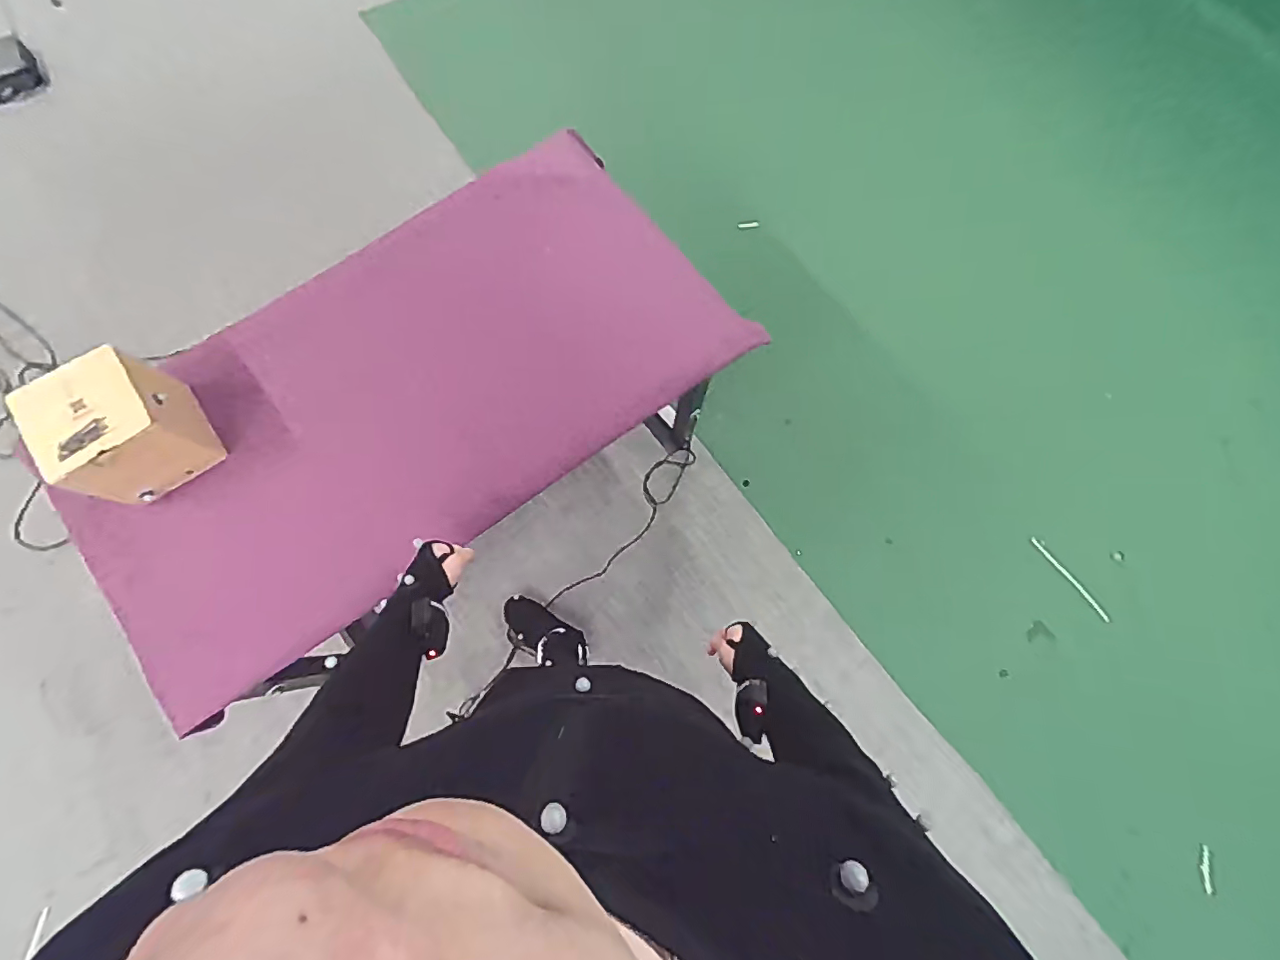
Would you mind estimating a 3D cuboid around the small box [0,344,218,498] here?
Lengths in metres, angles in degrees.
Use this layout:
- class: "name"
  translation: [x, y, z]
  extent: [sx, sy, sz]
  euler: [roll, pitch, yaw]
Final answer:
- class: "small box"
  translation: [-0.863, -0.085, 0.899]
  extent: [0.168, 0.176, 0.179]
  euler: [-35, 81, -11]
